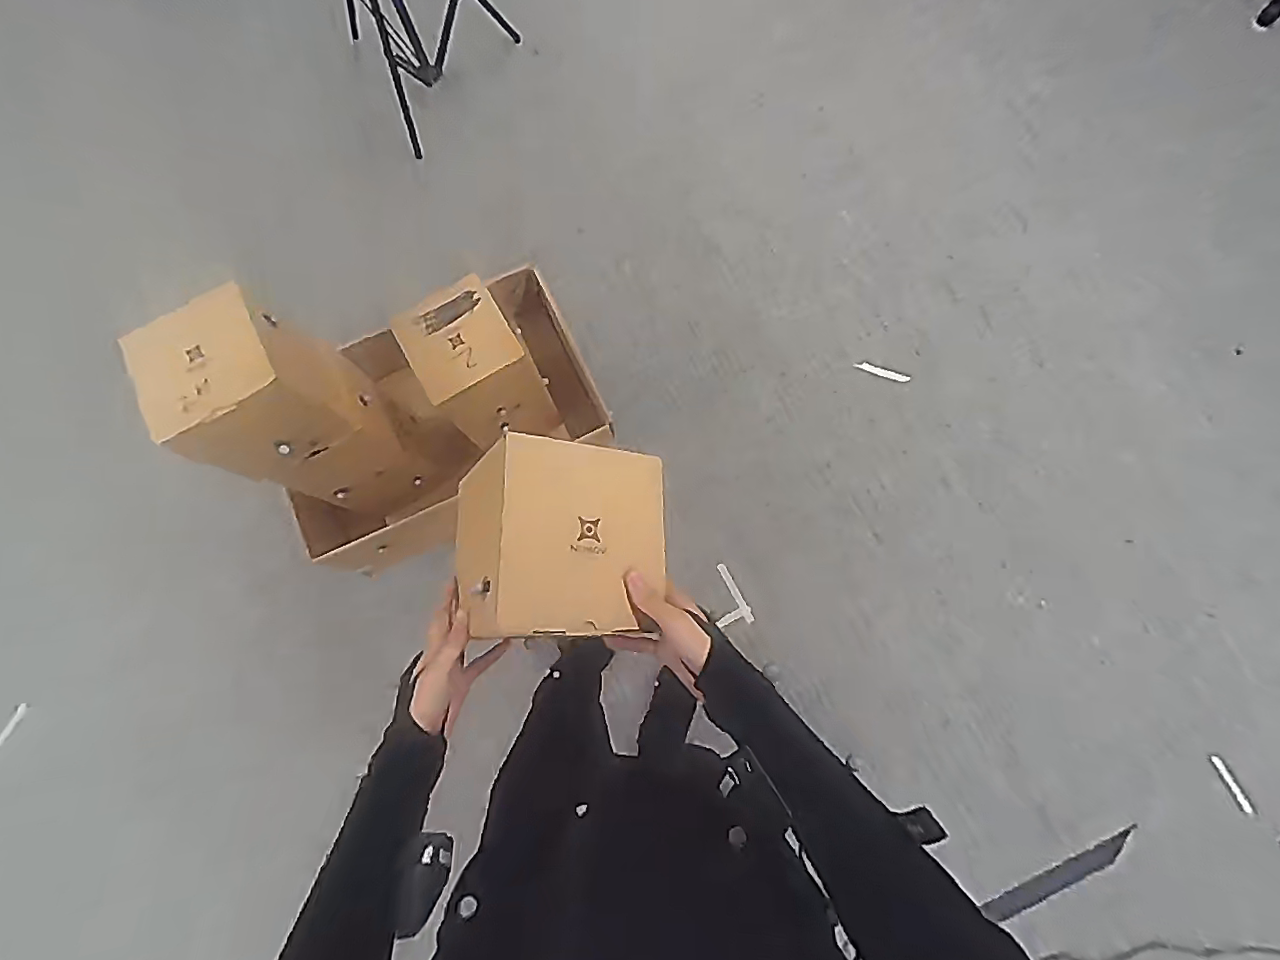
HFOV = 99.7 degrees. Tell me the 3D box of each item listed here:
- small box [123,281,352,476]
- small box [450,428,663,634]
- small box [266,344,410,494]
[{"bbox_3d":[-0.547,-0.131,0.755,0.168,0.176,0.179,-30,75,-4],"label":"small box"},{"bbox_3d":[-0.091,0.066,0.558,0.168,0.176,0.179,8,72,-30],"label":"small box"},{"bbox_3d":[-0.523,-0.090,0.915,0.168,0.176,0.179,-28,75,-4],"label":"small box"}]
